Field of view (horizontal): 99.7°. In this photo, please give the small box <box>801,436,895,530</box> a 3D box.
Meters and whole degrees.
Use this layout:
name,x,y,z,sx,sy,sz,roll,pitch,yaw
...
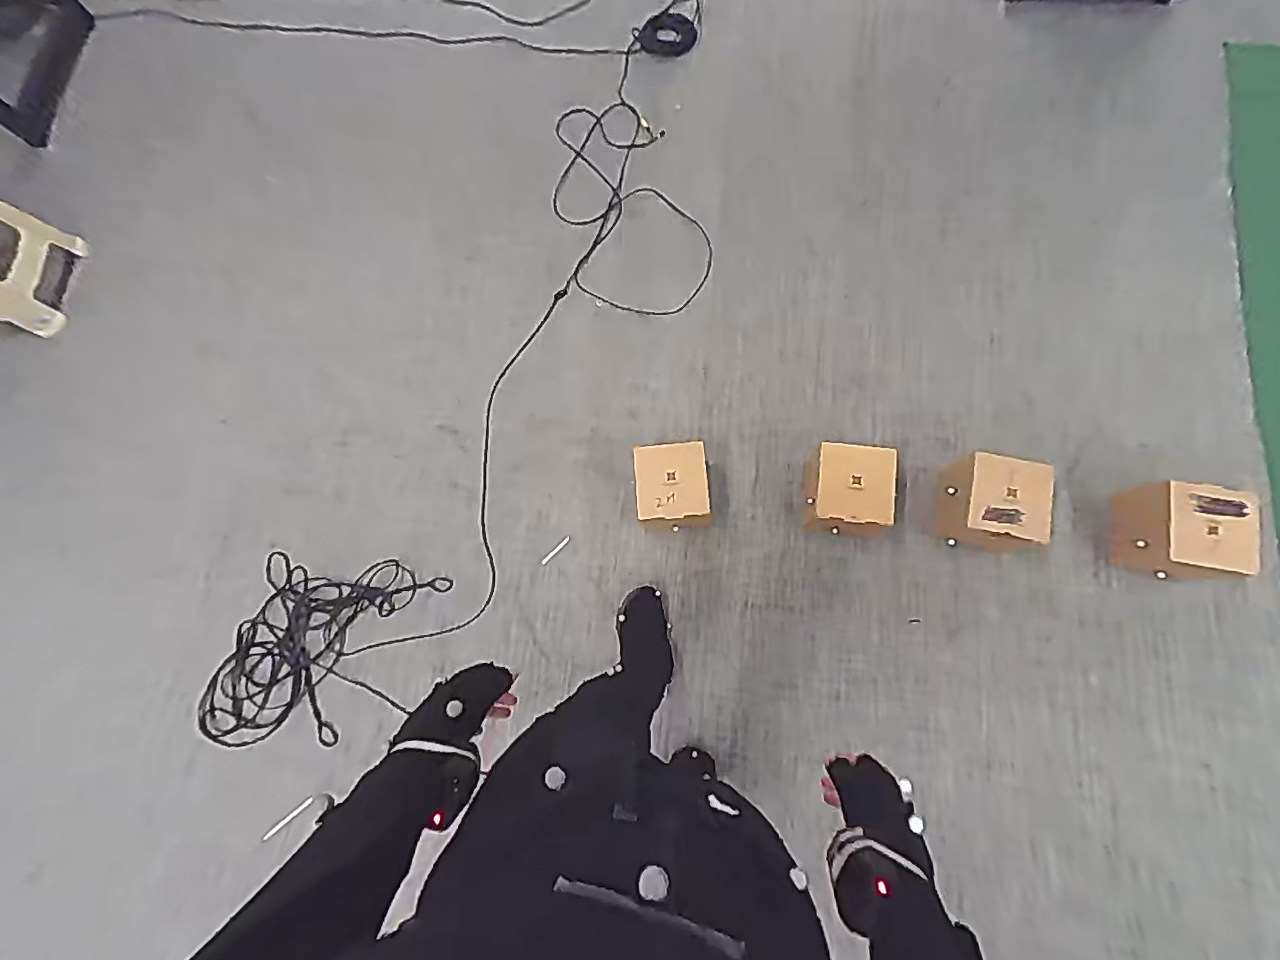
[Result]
name,x,y,z,sx,sy,sz,roll,pitch,yaw
small box,0.479,0.011,1.266,0.168,0.176,0.179,6,78,7

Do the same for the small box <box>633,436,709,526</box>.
name,x,y,z,sx,sy,sz,roll,pitch,yaw
small box,0.075,0.007,1.306,0.168,0.176,0.179,-6,76,5

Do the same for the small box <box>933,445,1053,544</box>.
name,x,y,z,sx,sy,sz,roll,pitch,yaw
small box,0.791,0.041,1.228,0.168,0.176,0.179,12,77,8
